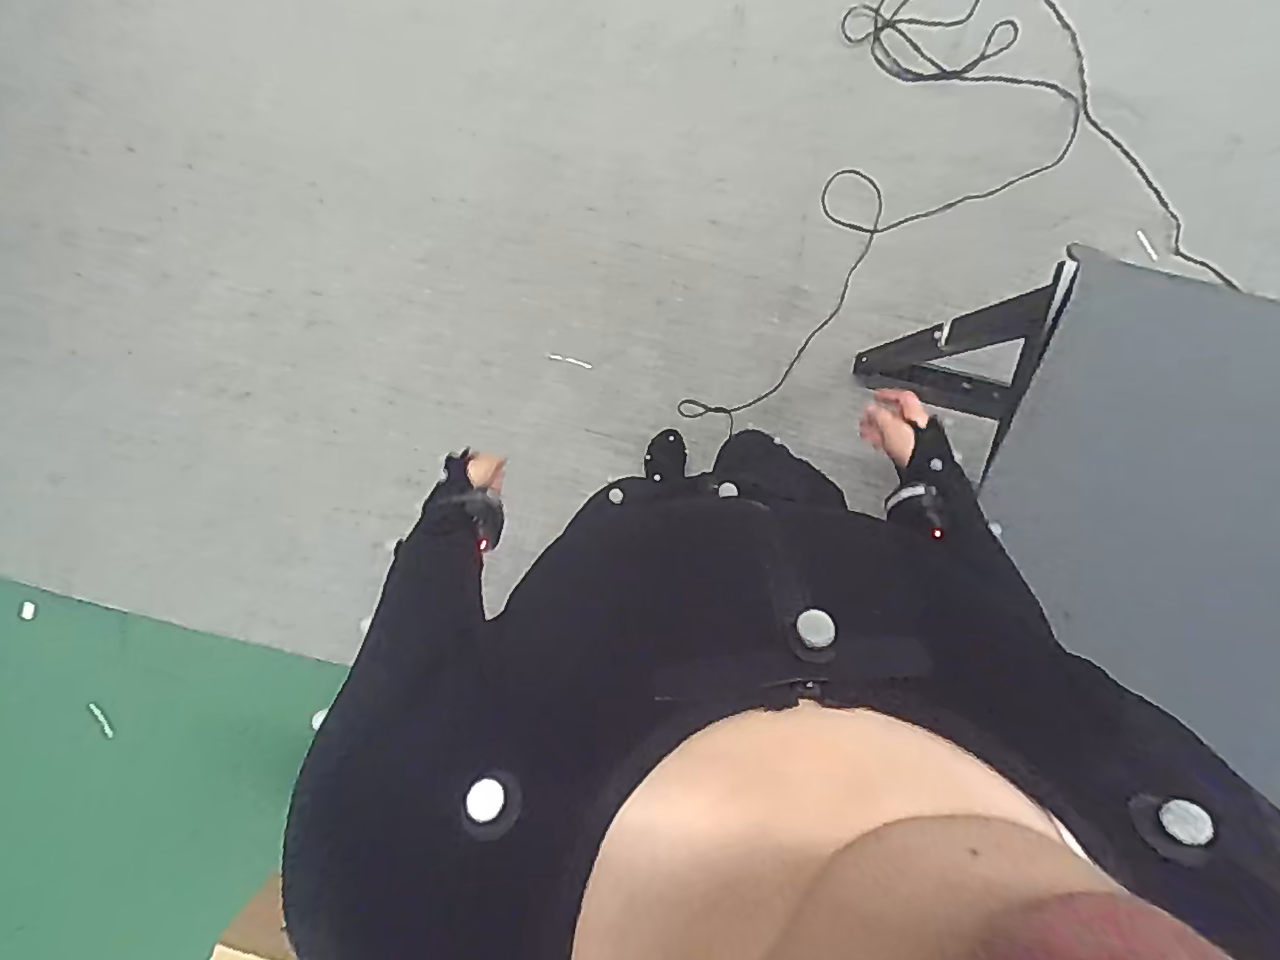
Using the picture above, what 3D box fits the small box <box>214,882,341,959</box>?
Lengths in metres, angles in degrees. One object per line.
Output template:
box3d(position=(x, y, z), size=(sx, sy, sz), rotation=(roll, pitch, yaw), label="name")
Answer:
box3d(position=(-0.788, 1.024, 1.174), size=(0.179, 0.176, 0.168), rotation=(17, 96, -2), label="small box")
